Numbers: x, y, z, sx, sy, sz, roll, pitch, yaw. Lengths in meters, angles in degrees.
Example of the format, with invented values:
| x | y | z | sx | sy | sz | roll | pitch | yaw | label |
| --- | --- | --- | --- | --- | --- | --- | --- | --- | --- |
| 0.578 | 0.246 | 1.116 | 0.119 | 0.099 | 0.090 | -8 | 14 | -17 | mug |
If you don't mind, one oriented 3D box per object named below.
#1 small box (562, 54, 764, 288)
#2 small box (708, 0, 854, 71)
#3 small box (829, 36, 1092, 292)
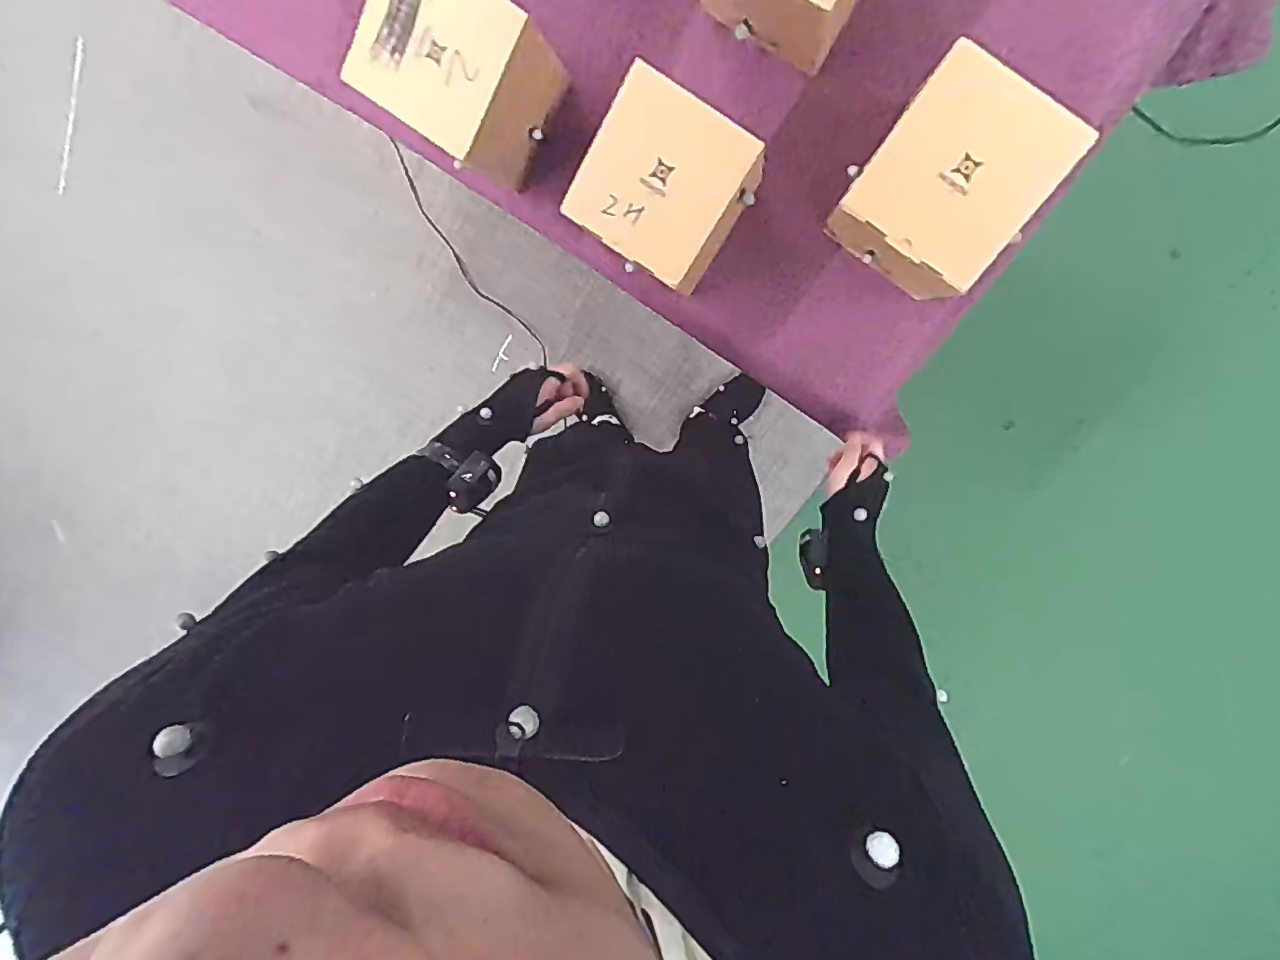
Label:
| x | y | z | sx | sy | sz | roll | pitch | yaw | label |
| --- | --- | --- | --- | --- | --- | --- | --- | --- | --- |
| 0.034 | -0.362 | 0.675 | 0.168 | 0.176 | 0.179 | 34 | 110 | 0 | small box |
| 0.172 | -0.597 | 0.576 | 0.168 | 0.176 | 0.179 | 32 | 111 | 1 | small box |
| 0.341 | -0.339 | 0.623 | 0.168 | 0.176 | 0.179 | 35 | 111 | 0 | small box |
